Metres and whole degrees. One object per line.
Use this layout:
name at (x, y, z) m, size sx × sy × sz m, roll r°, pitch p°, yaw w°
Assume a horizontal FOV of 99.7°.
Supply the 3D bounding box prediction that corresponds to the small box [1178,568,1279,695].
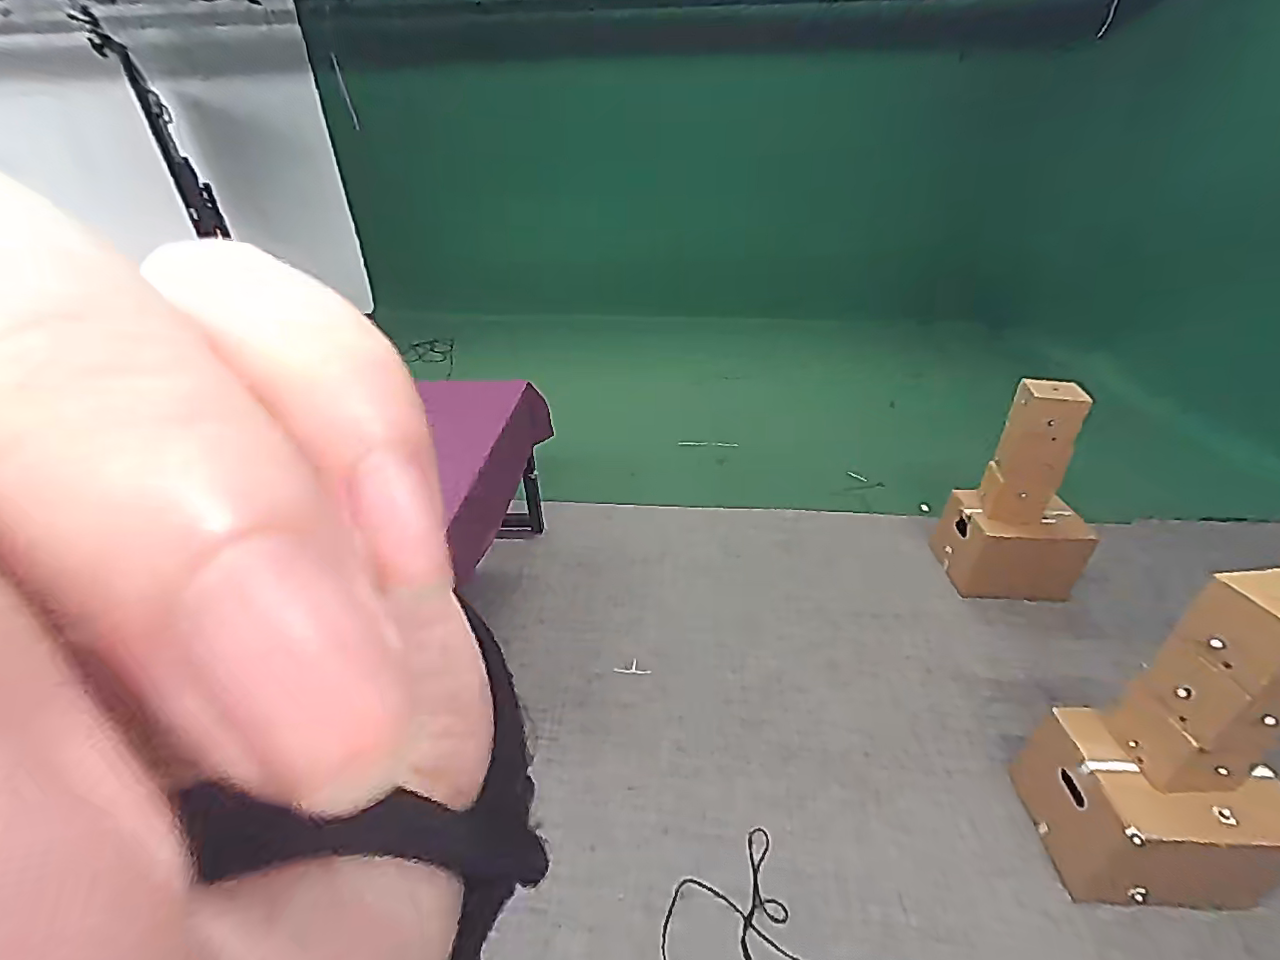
small box at (1.223, 0.291, 1.045) m, size 0.179 × 0.176 × 0.168 m, roll -4°, pitch 31°, yaw -4°

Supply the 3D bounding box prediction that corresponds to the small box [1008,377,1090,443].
small box at (1.416, -0.242, 1.883) m, size 0.168 × 0.176 × 0.179 m, roll 10°, pitch 33°, yaw 16°

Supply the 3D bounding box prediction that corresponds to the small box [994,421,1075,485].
small box at (1.421, -0.097, 1.961) m, size 0.179 × 0.176 × 0.168 m, roll 8°, pitch 32°, yaw 16°

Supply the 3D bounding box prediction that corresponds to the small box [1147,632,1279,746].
small box at (1.224, 0.432, 1.130) m, size 0.179 × 0.176 × 0.168 m, roll -4°, pitch 31°, yaw -3°

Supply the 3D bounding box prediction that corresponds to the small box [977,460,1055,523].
small box at (1.414, 0.043, 2.044) m, size 0.179 × 0.176 × 0.168 m, roll 7°, pitch 33°, yaw 13°

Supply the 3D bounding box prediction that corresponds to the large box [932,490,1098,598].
large box at (1.468, 0.253, 2.164) m, size 0.408 × 0.320 × 0.320 m, roll 2°, pitch 33°, yaw 3°
